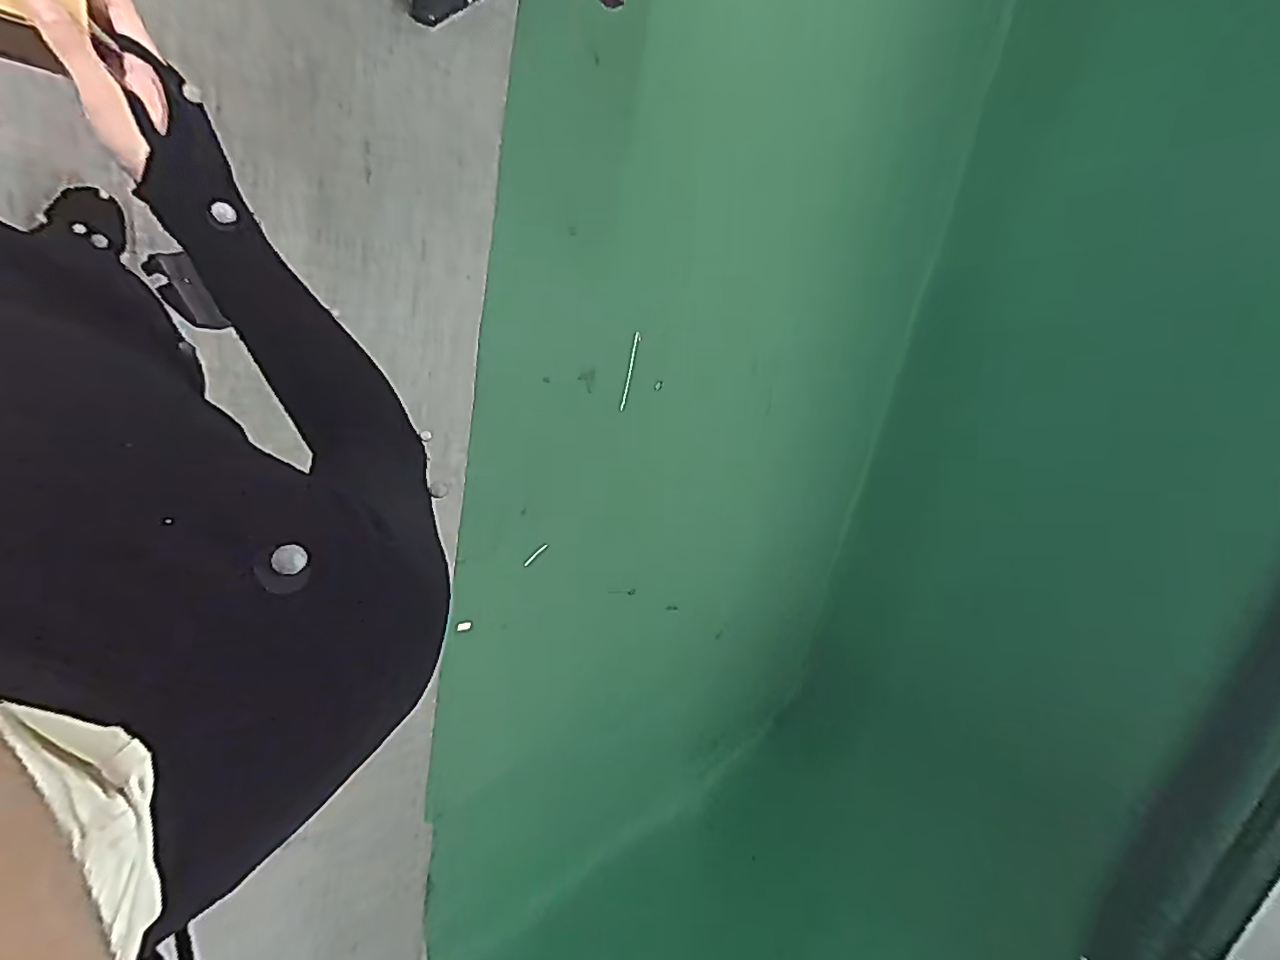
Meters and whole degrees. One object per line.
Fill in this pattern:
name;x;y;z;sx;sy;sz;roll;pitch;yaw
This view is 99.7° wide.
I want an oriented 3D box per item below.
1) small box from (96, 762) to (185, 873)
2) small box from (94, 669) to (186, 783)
small box;-1.330;0.876;1.437;0.168;0.176;0.179;0;110;-44
small box;-1.265;0.614;1.370;0.168;0.176;0.179;0;110;-44
